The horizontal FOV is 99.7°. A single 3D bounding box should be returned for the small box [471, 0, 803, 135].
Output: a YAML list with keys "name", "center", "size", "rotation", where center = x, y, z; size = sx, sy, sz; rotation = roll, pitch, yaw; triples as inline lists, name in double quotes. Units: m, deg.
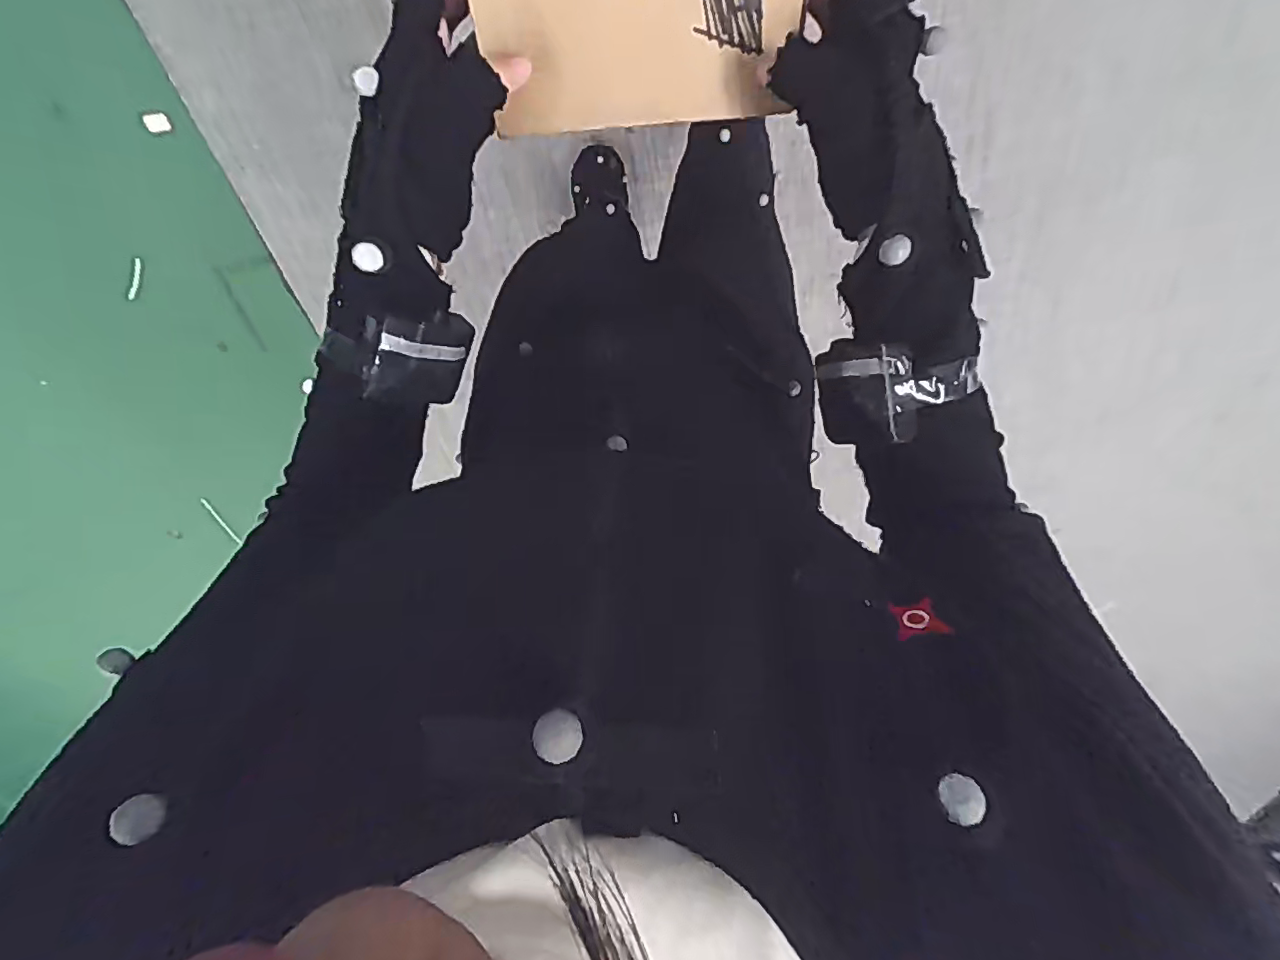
- name: "small box"
  center: [-0.003, -0.324, 0.323]
  size: [0.179, 0.176, 0.168]
  rotation: [-3, 132, 4]
